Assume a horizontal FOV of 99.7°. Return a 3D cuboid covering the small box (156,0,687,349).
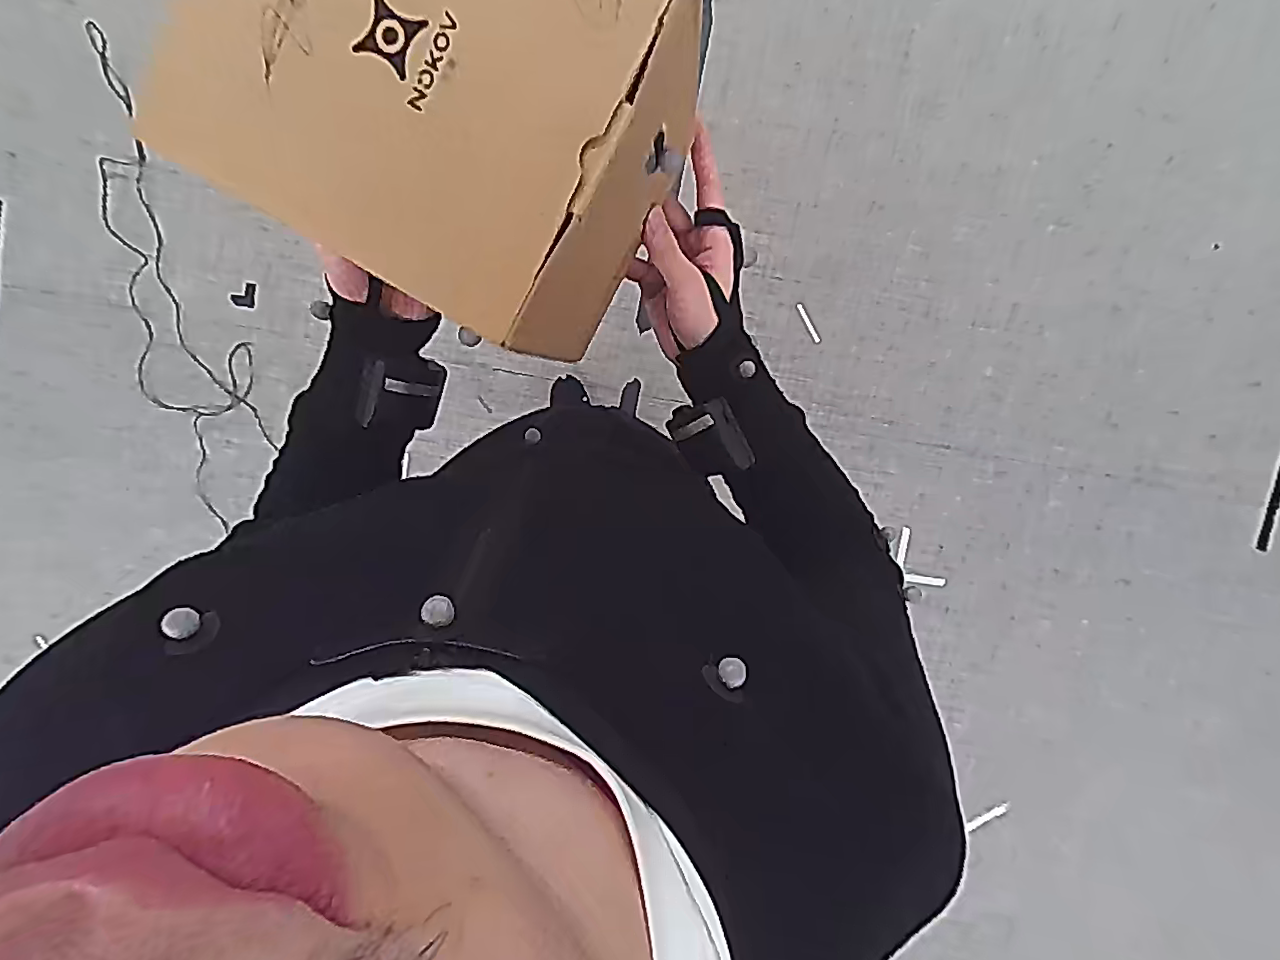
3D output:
[{"bbox_3d":[-0.087,-0.183,0.296,0.179,0.176,0.168,29,100,-1],"label":"small box"}]
